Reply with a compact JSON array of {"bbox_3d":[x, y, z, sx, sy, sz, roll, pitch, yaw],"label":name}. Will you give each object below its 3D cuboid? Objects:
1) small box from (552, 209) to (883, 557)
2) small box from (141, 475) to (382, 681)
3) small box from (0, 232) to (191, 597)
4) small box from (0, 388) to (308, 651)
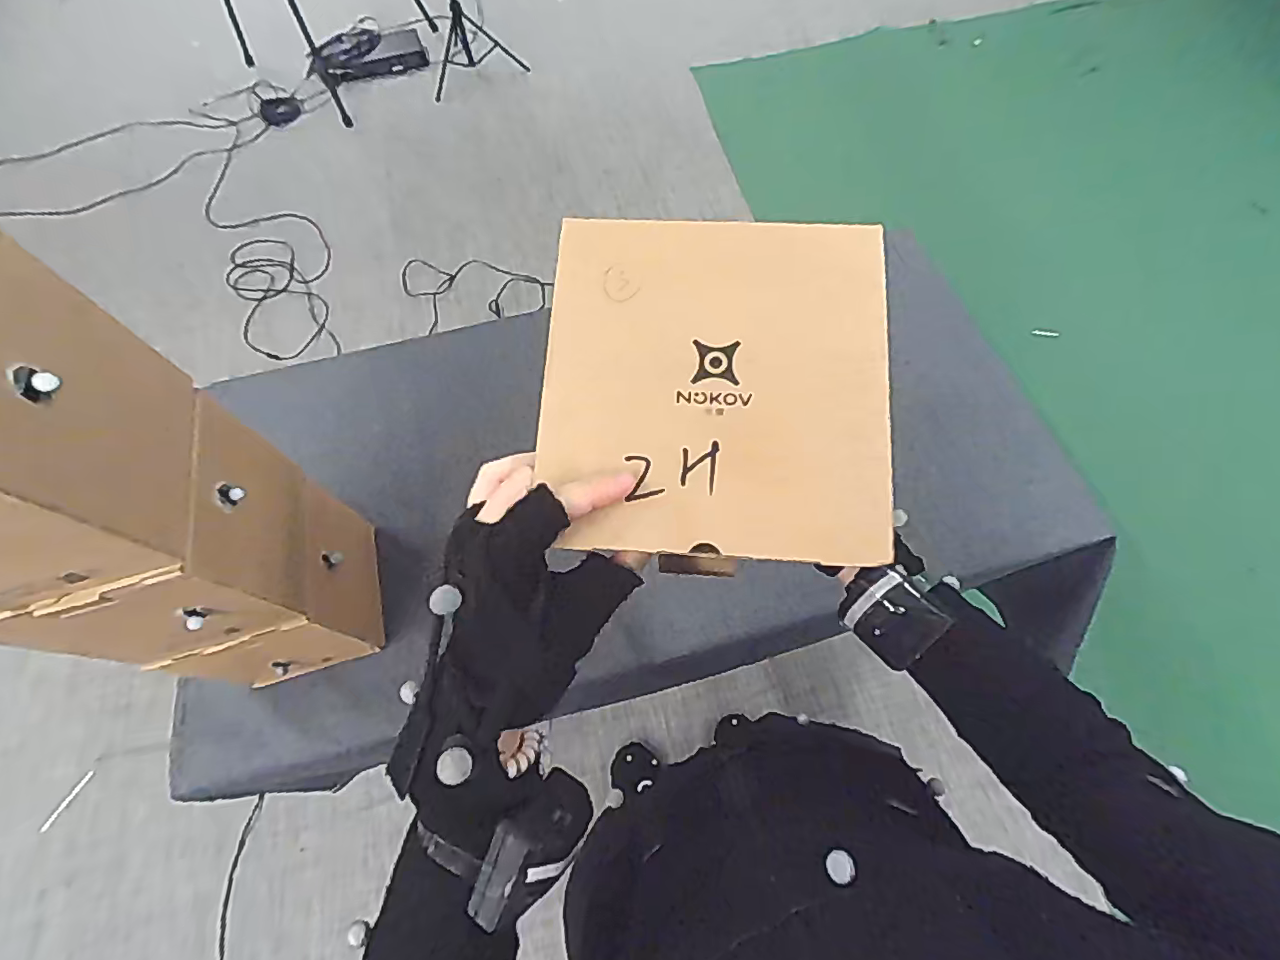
[{"bbox_3d":[0.043,-0.059,0.366,0.168,0.176,0.179,4,97,4],"label":"small box"},{"bbox_3d":[-0.429,0.122,0.643,0.168,0.176,0.179,-16,65,-5],"label":"small box"},{"bbox_3d":[-0.441,-0.030,0.354,0.168,0.176,0.179,-16,64,-7],"label":"small box"},{"bbox_3d":[-0.433,0.048,0.498,0.168,0.176,0.179,-15,65,-6],"label":"small box"}]
